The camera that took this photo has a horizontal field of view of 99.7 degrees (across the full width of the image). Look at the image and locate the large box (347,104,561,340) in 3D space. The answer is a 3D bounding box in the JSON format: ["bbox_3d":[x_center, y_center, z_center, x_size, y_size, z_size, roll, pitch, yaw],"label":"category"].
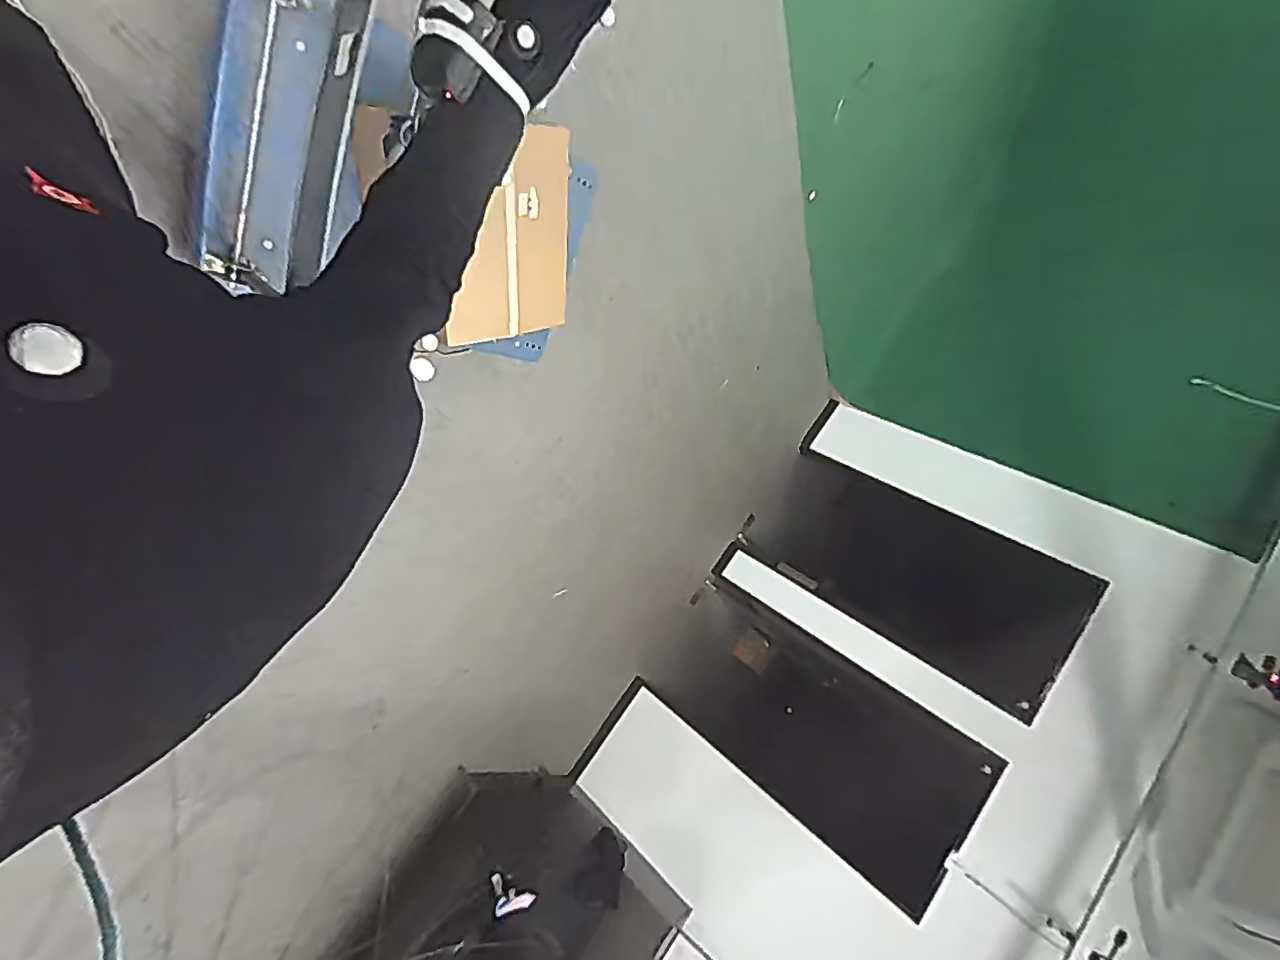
[{"bbox_3d":[-0.390,-0.567,1.190,0.320,0.320,0.408,-27,135,-41],"label":"large box"}]
